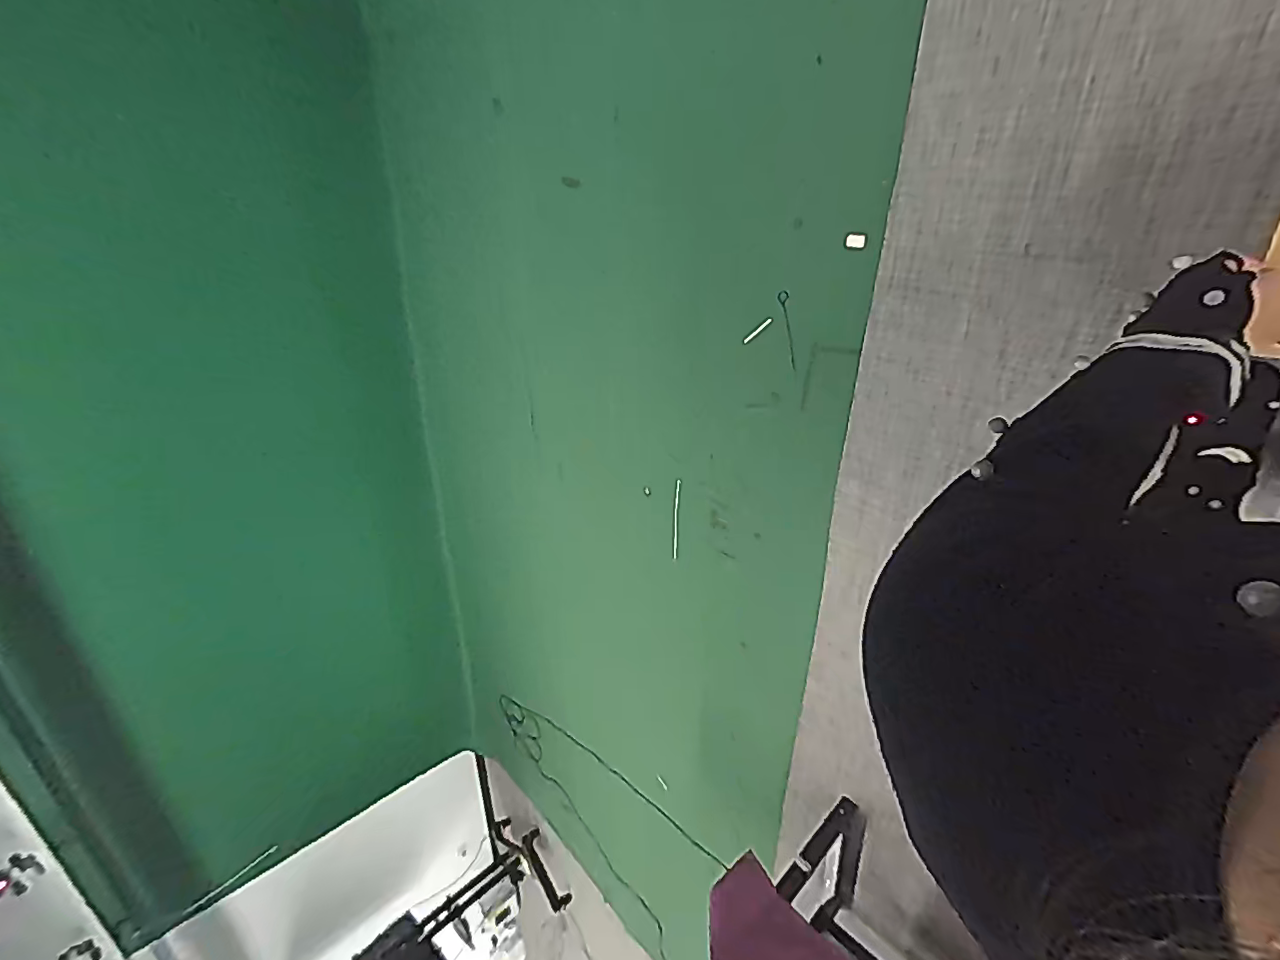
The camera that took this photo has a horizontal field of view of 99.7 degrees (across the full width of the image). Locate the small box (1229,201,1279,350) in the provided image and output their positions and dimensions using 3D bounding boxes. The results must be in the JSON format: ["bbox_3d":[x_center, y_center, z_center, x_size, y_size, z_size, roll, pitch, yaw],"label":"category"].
[{"bbox_3d":[0.716,-0.219,0.519,0.168,0.176,0.179,22,124,41],"label":"small box"}]
